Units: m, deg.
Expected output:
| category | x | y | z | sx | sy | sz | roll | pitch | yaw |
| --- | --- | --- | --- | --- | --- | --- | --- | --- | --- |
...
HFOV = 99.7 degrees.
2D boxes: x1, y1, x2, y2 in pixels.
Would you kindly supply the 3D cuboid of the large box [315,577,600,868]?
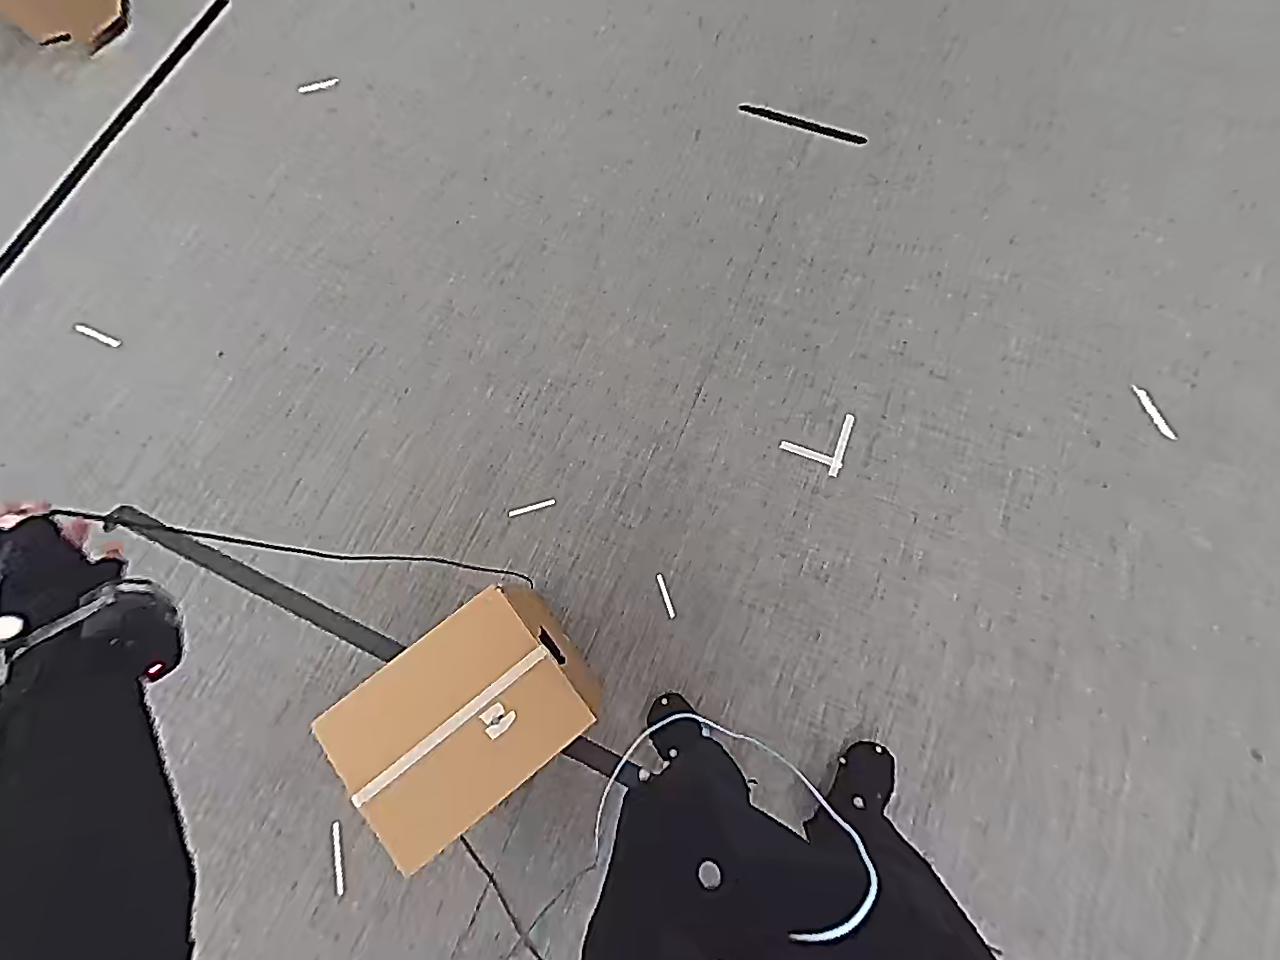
| category | x | y | z | sx | sy | sz | roll | pitch | yaw |
| --- | --- | --- | --- | --- | --- | --- | --- | --- | --- |
| large box | -0.334 | 0.453 | 1.103 | 0.408 | 0.320 | 0.320 | -37 | 81 | -9 |
